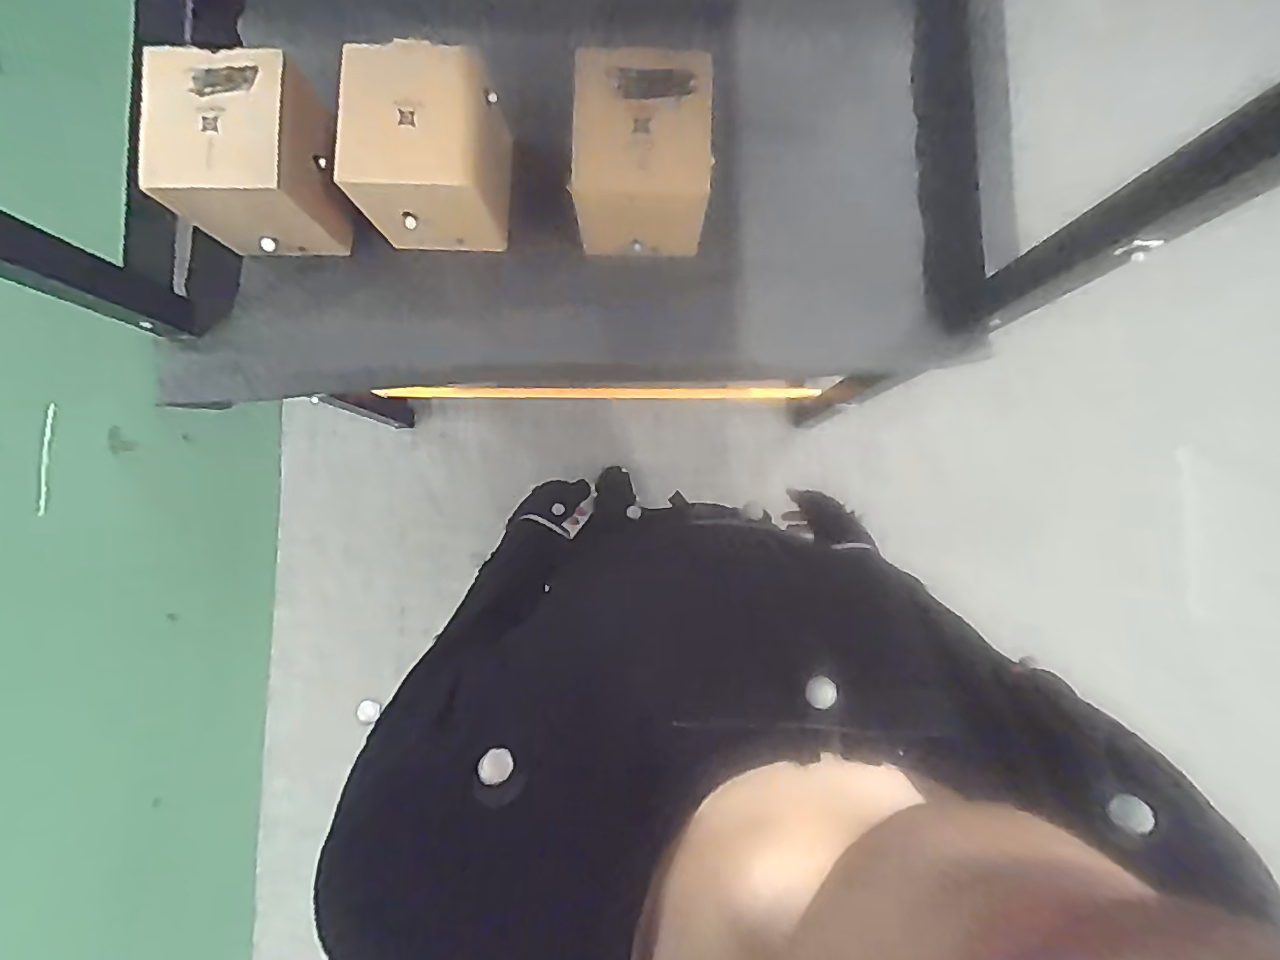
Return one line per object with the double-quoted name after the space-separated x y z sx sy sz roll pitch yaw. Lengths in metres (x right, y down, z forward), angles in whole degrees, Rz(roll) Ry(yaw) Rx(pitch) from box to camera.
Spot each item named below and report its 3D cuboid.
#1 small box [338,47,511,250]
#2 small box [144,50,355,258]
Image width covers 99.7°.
-0.275 -0.430 0.727 0.168 0.176 0.179 1 85 0 "small box"
-0.502 -0.422 0.723 0.168 0.176 0.179 0 86 0 "small box"
